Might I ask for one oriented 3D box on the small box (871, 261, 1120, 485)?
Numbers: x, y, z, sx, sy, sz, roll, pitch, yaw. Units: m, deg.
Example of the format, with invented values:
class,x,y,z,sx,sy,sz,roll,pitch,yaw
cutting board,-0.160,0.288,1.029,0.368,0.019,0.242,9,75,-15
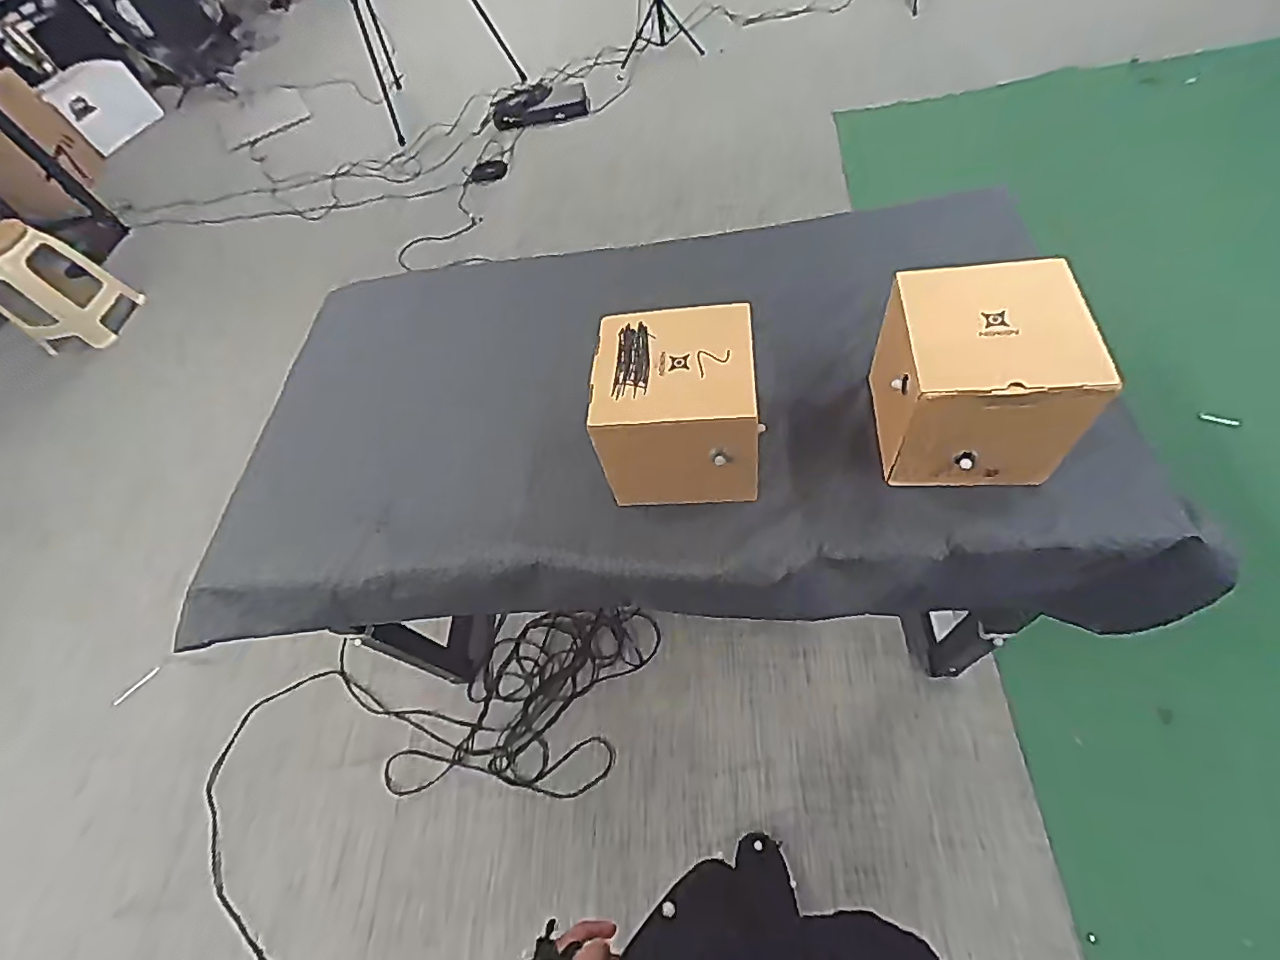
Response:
class,x,y,z,sx,sy,sz,roll,pitch,yaw
small box,0.365,-0.112,0.601,0.168,0.176,0.179,-1,59,12
